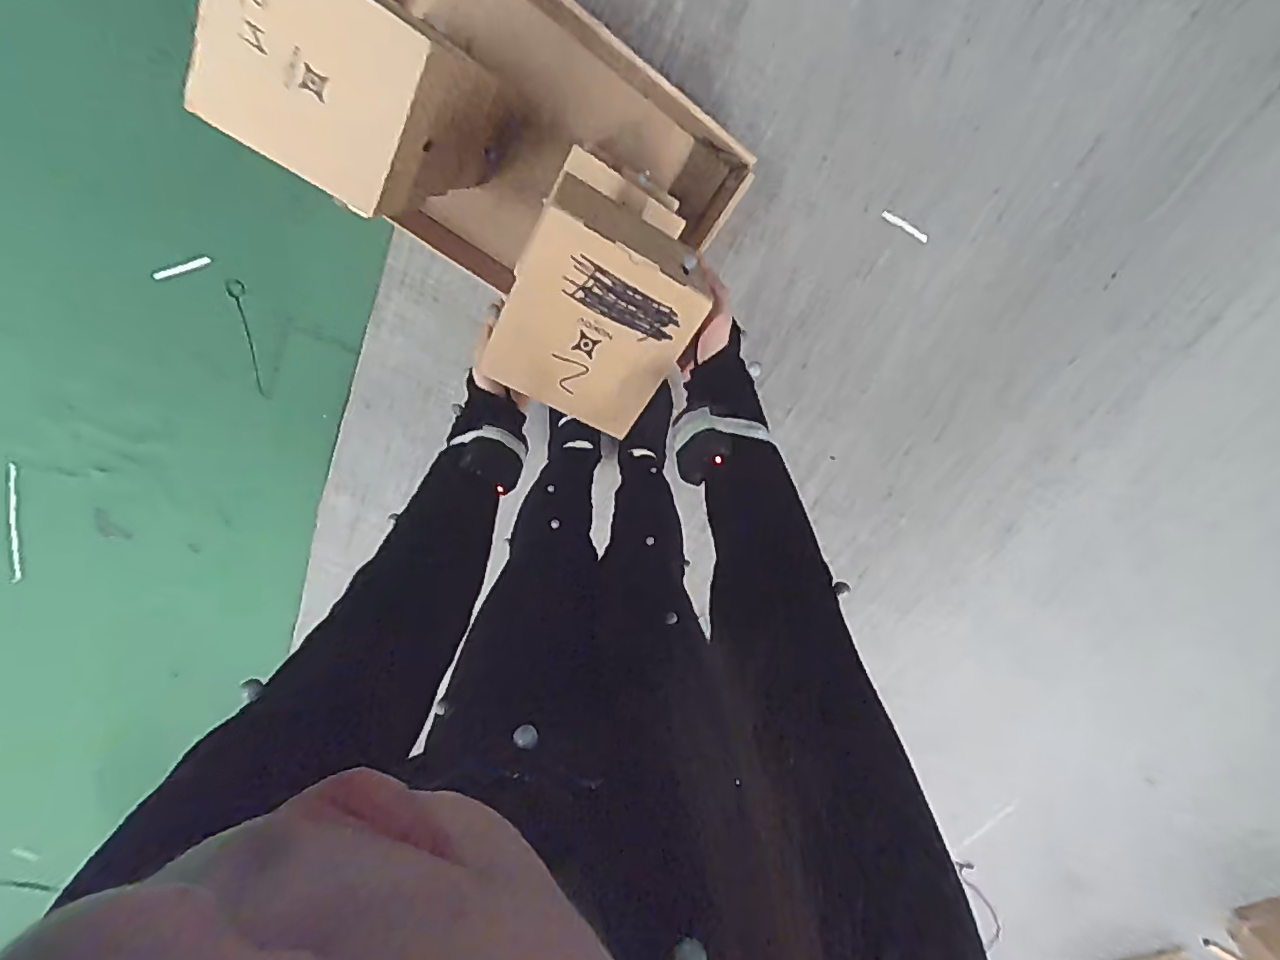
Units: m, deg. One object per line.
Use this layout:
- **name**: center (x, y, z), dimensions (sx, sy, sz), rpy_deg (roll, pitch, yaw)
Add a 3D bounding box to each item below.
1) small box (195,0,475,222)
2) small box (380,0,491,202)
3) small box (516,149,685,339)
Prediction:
- **small box**: center (-0.292, -0.397, 0.553), dimensions (0.179, 0.176, 0.168), rpy_deg (29, 115, -17)
- **small box**: center (-0.306, -0.489, 0.691), dimensions (0.168, 0.176, 0.179), rpy_deg (29, 115, -18)
- **small box**: center (-0.053, -0.337, 0.778), dimensions (0.168, 0.176, 0.179), rpy_deg (29, 114, -16)
